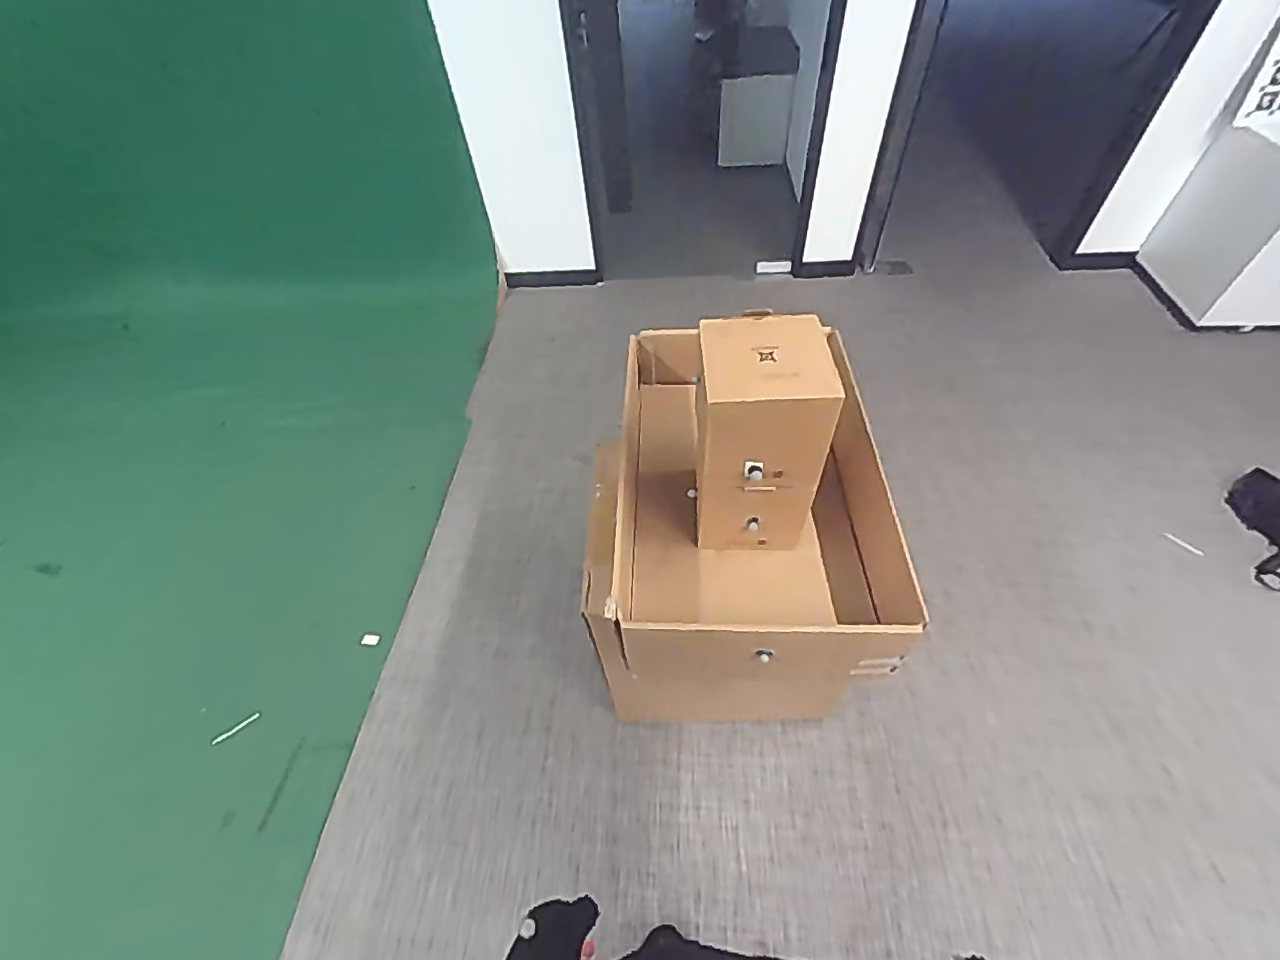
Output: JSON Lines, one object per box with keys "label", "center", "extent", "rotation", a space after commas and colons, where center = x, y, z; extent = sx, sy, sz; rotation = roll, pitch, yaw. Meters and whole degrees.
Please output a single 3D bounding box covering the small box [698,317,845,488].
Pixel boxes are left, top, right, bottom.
{"label": "small box", "center": [0.170, -0.108, 0.765], "extent": [0.168, 0.176, 0.179], "rotation": [-2, 51, 3]}
